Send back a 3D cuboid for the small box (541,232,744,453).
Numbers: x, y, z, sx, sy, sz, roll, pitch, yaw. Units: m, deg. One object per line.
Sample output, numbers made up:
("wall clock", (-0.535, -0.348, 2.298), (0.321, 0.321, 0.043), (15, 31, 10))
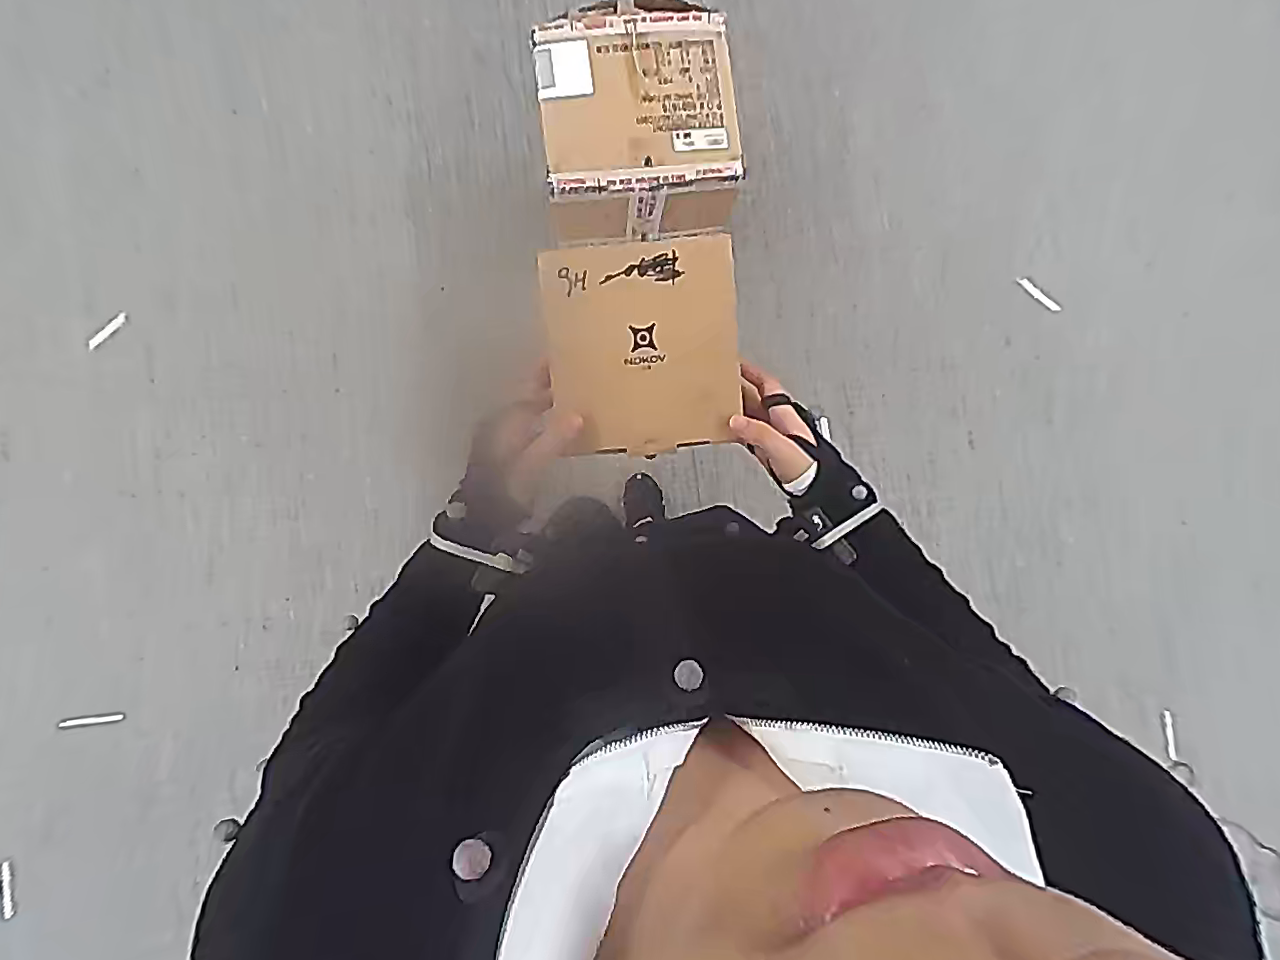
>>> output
("small box", (0.005, -0.129, 0.544), (0.168, 0.176, 0.179), (-6, 98, 0))
